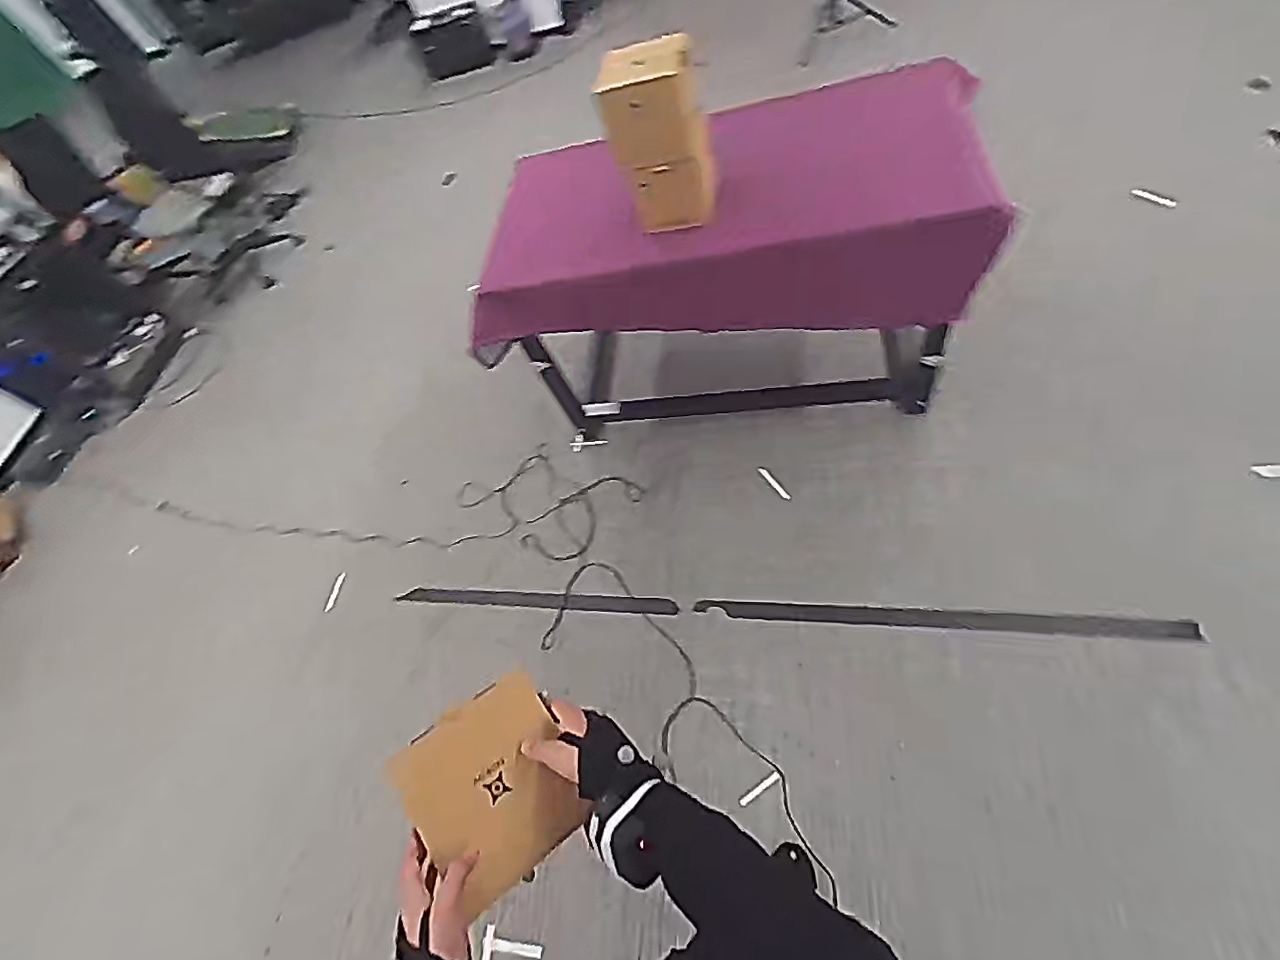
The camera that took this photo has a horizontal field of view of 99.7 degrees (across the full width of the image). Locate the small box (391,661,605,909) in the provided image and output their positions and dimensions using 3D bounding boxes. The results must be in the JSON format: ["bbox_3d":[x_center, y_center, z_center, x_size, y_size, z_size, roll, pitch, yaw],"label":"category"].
[{"bbox_3d":[-0.159,0.345,0.639,0.168,0.176,0.179,-30,70,-22],"label":"small box"}]

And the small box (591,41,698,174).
[{"bbox_3d":[0.016,-0.794,1.167,0.179,0.176,0.168,0,61,18],"label":"small box"}]
